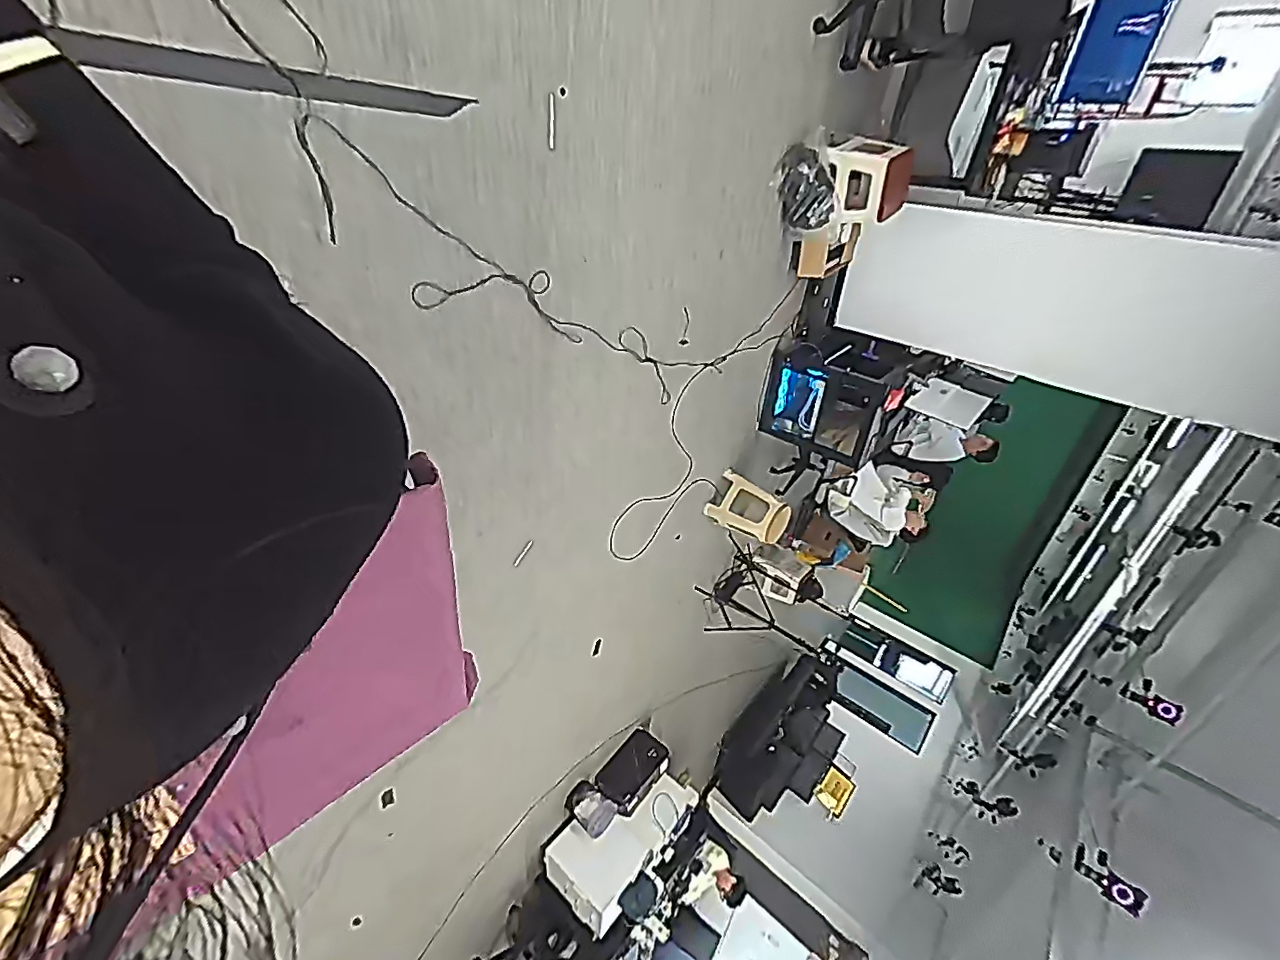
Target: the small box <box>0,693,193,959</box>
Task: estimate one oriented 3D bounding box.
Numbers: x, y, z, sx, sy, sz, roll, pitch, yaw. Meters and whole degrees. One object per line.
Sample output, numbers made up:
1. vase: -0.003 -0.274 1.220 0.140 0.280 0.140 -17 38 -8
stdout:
1. small box: -0.681 0.397 0.645 0.168 0.176 0.179 -27 134 -46
